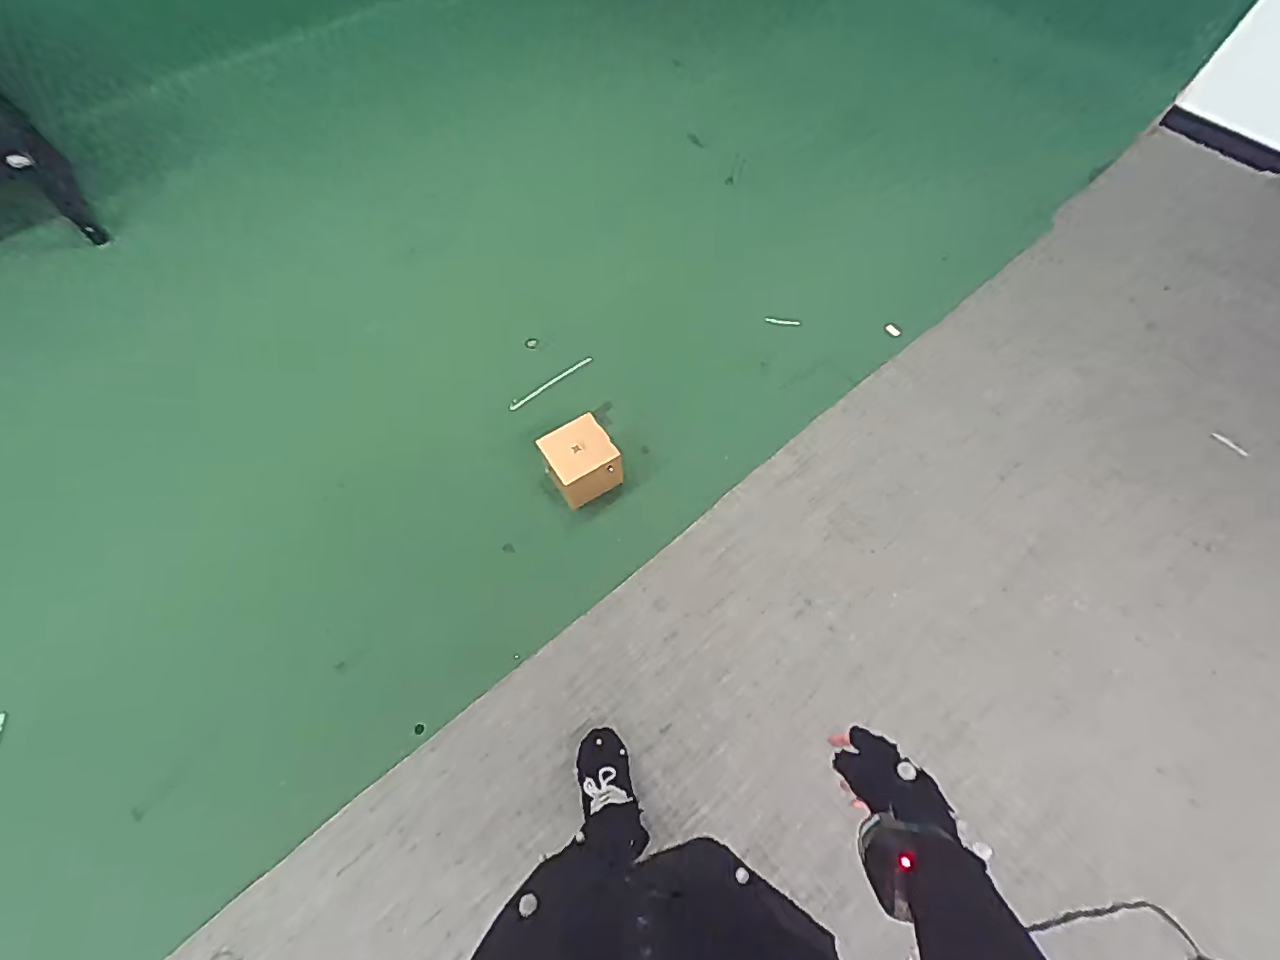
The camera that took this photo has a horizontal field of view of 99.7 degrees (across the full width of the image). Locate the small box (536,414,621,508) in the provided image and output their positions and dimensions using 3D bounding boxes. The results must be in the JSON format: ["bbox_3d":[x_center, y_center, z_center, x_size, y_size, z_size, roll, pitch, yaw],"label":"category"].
[{"bbox_3d":[-0.167,-0.047,1.526,0.179,0.176,0.168,-31,67,-15],"label":"small box"}]
